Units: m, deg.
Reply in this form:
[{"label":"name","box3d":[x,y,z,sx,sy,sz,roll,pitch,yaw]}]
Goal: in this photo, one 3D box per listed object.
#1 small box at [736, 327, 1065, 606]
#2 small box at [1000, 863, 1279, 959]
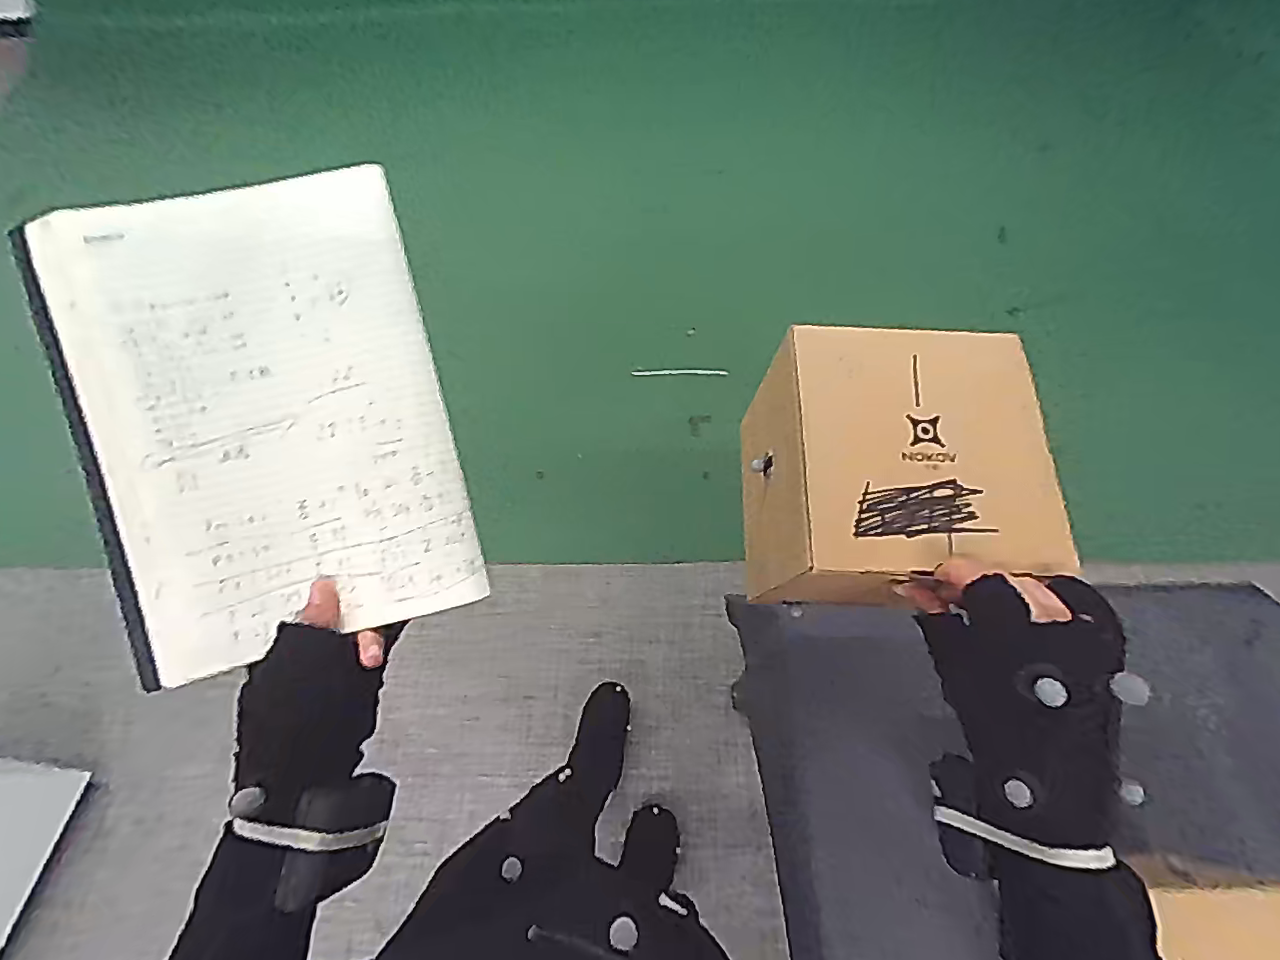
[{"label":"small box","box3d":[0.177,0.003,0.432,0.168,0.176,0.179,2,69,-3]},{"label":"small box","box3d":[0.456,0.433,0.454,0.179,0.176,0.168,-1,61,1]}]
